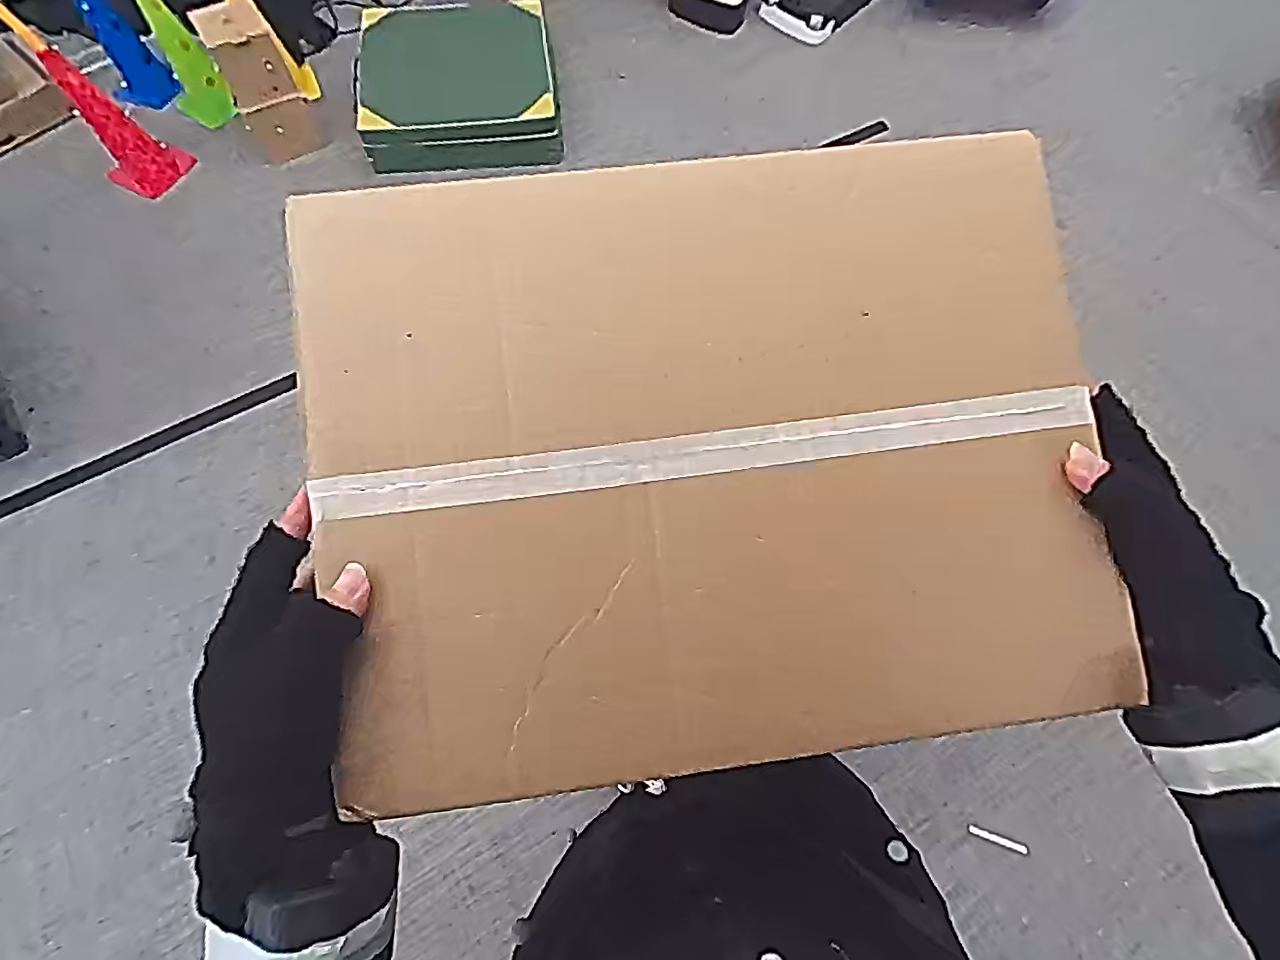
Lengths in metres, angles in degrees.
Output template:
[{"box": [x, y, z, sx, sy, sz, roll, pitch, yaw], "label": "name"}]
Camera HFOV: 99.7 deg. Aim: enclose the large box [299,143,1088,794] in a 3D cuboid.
[{"box": [0.025, -0.009, 0.441, 0.408, 0.320, 0.320, -7, 85, -3], "label": "large box"}]
